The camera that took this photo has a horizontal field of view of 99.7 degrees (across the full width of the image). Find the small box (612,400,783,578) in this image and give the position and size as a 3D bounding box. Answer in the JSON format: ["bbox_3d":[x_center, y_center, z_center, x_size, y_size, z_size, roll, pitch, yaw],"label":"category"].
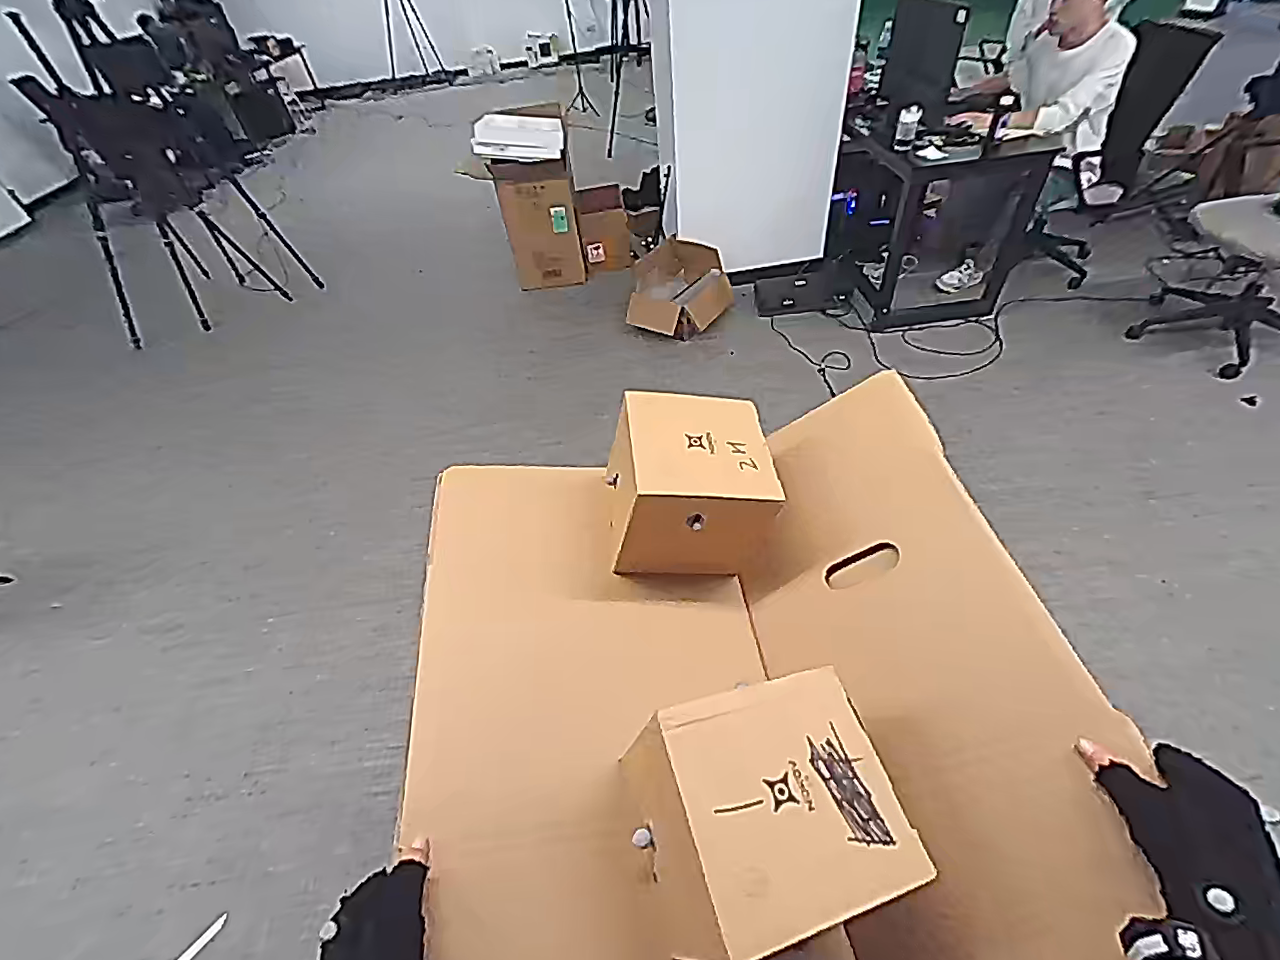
[{"bbox_3d":[0.059,0.017,0.712,0.179,0.176,0.168,4,50,-12],"label":"small box"}]

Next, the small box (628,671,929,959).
[{"bbox_3d":[0.103,0.296,0.487,0.179,0.176,0.168,-7,53,-19],"label":"small box"}]
